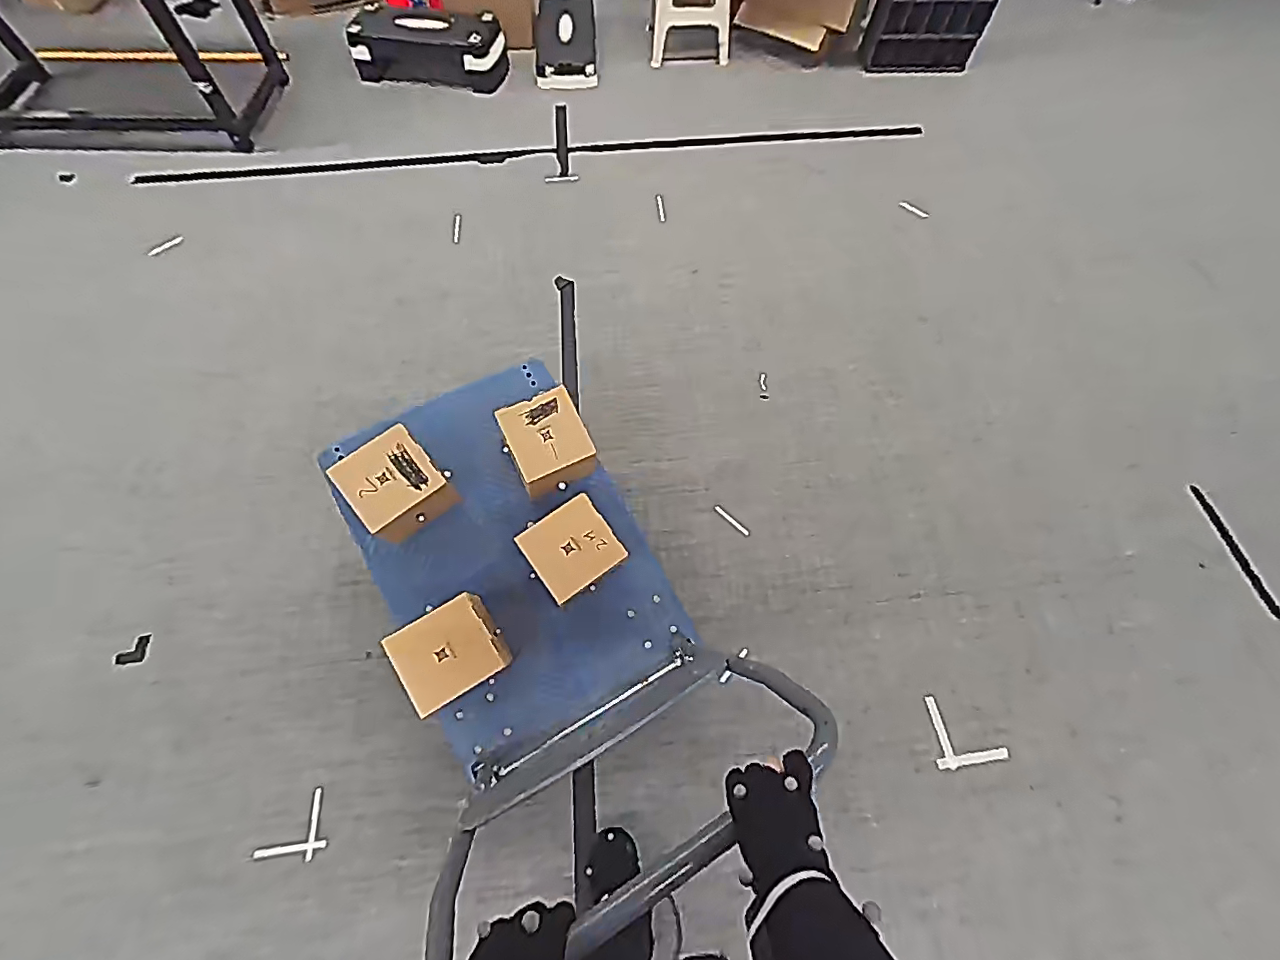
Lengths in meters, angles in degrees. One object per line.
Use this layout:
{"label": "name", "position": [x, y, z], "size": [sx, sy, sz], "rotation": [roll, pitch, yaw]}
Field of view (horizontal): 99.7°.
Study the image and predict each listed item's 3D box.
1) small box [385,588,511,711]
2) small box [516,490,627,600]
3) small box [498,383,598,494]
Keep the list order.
{"label": "small box", "position": [-0.380, 0.341, 1.104], "size": [0.179, 0.176, 0.168], "rotation": [-30, 81, -15]}
{"label": "small box", "position": [-0.147, 0.149, 1.183], "size": [0.179, 0.176, 0.168], "rotation": [-34, 83, -14]}
{"label": "small box", "position": [-0.209, -0.089, 1.237], "size": [0.168, 0.176, 0.179], "rotation": [-25, 81, -12]}
